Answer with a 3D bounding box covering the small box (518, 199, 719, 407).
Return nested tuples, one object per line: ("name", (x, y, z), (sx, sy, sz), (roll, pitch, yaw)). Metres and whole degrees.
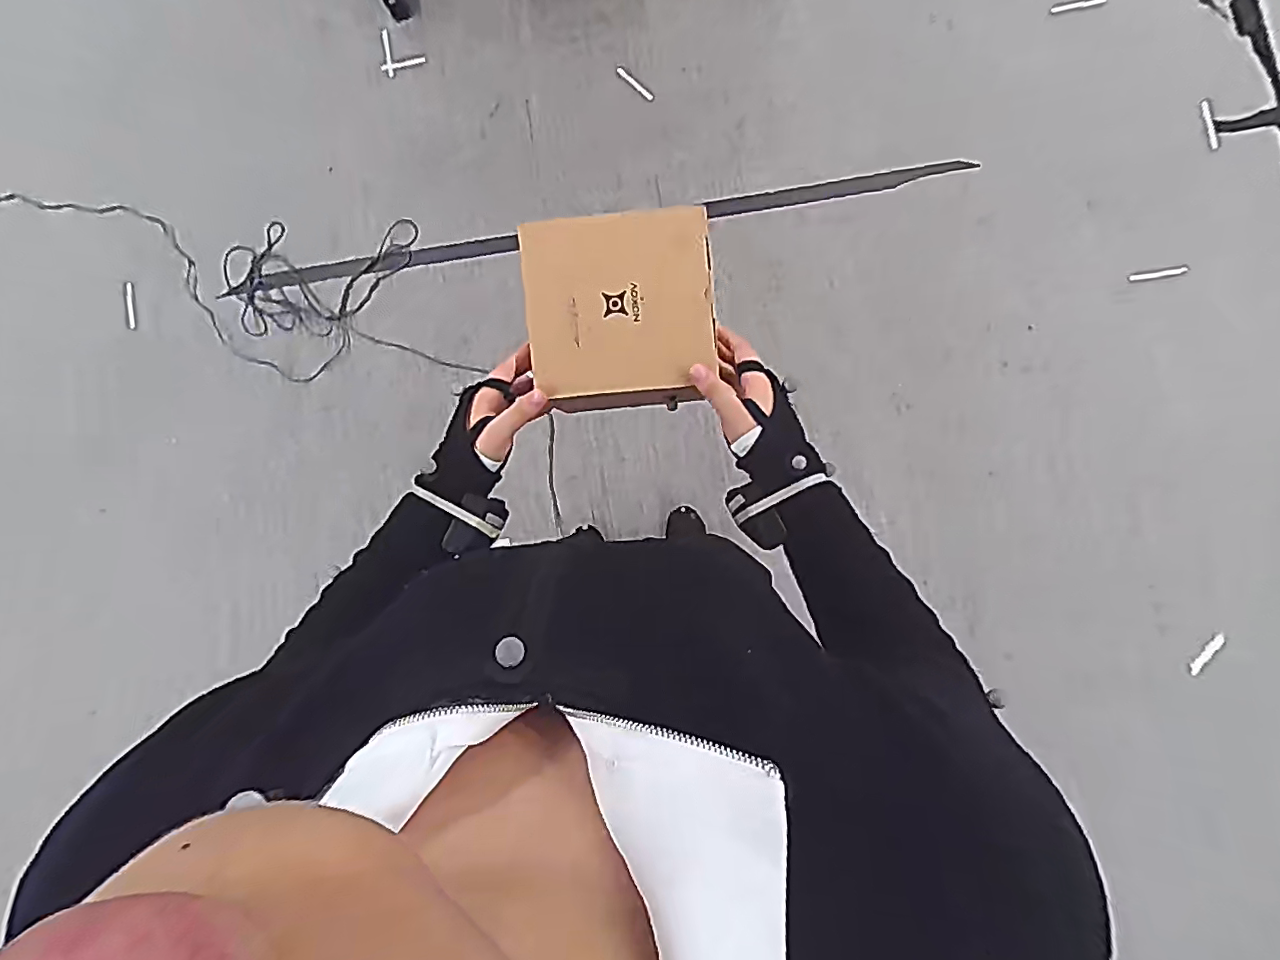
("small box", (-0.017, -0.174, 0.581), (0.179, 0.176, 0.168), (-6, 92, 3))
